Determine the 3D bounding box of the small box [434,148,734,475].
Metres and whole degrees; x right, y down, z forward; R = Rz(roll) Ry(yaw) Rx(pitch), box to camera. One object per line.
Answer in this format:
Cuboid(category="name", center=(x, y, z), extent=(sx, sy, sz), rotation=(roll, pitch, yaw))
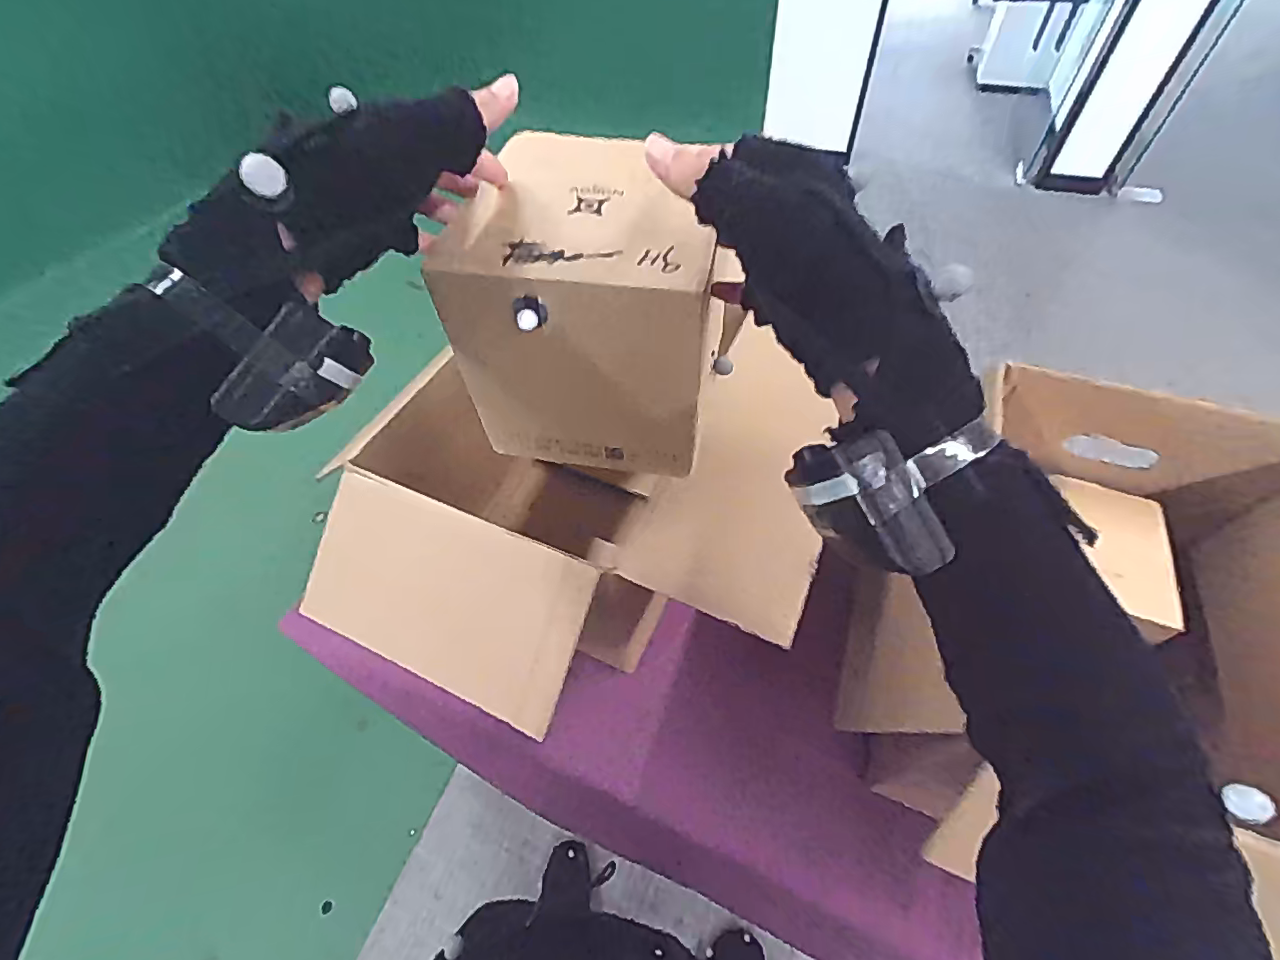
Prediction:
Cuboid(category="small box", center=(-0.025, -0.130, 0.423), extent=(0.168, 0.176, 0.179), rotation=(8, 54, 10))
